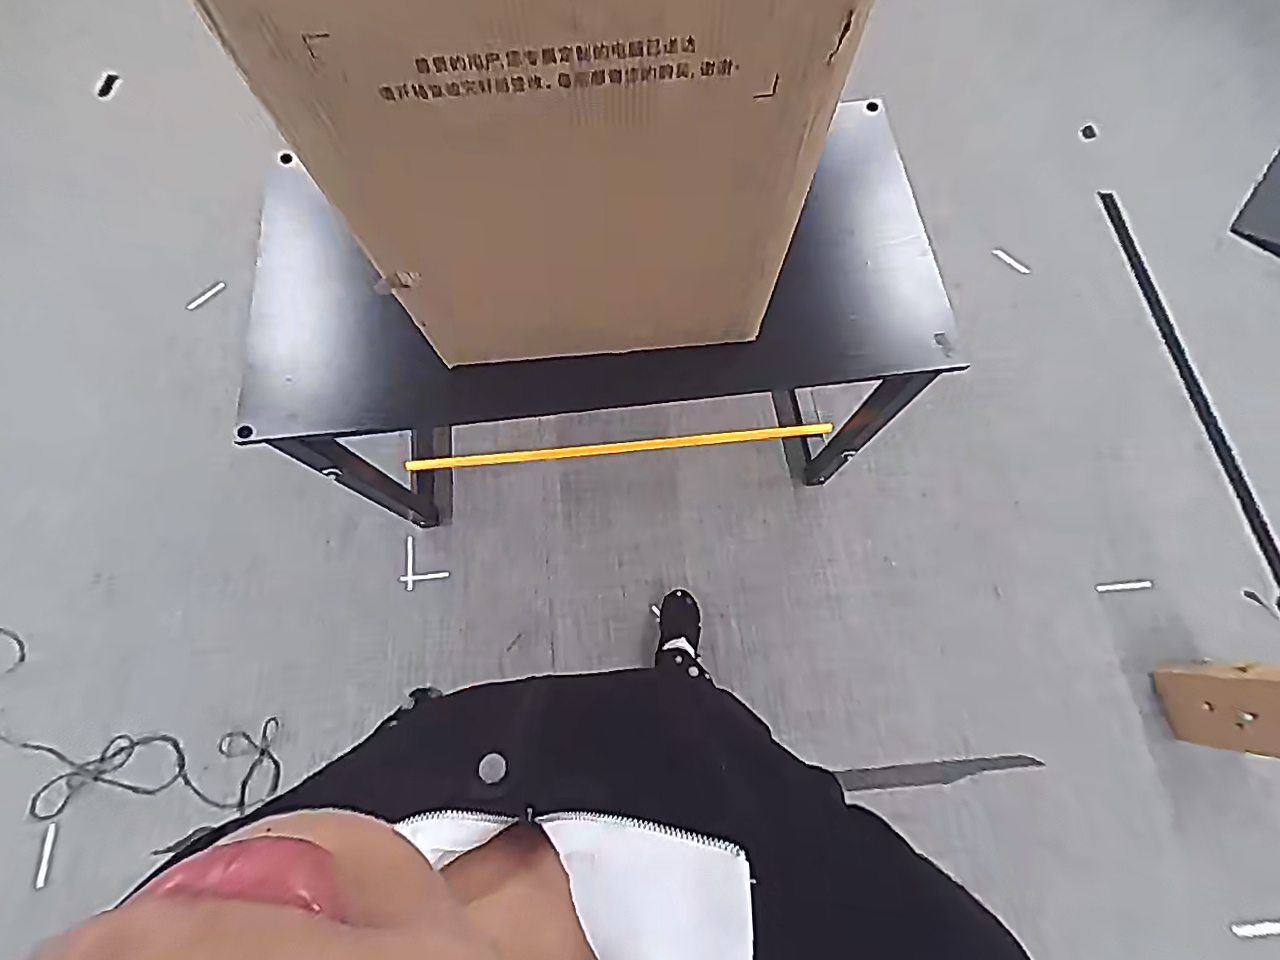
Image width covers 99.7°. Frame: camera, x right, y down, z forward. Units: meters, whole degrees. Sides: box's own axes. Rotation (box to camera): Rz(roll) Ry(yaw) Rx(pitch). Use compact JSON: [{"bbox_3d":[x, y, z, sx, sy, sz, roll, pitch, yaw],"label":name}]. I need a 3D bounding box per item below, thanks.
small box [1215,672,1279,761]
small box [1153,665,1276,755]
[{"bbox_3d":[1.440,0.514,1.175,0.179,0.176,0.168,-6,73,-1],"label":"small box"},{"bbox_3d":[1.440,0.558,1.334,0.168,0.176,0.179,-9,73,-2],"label":"small box"}]
